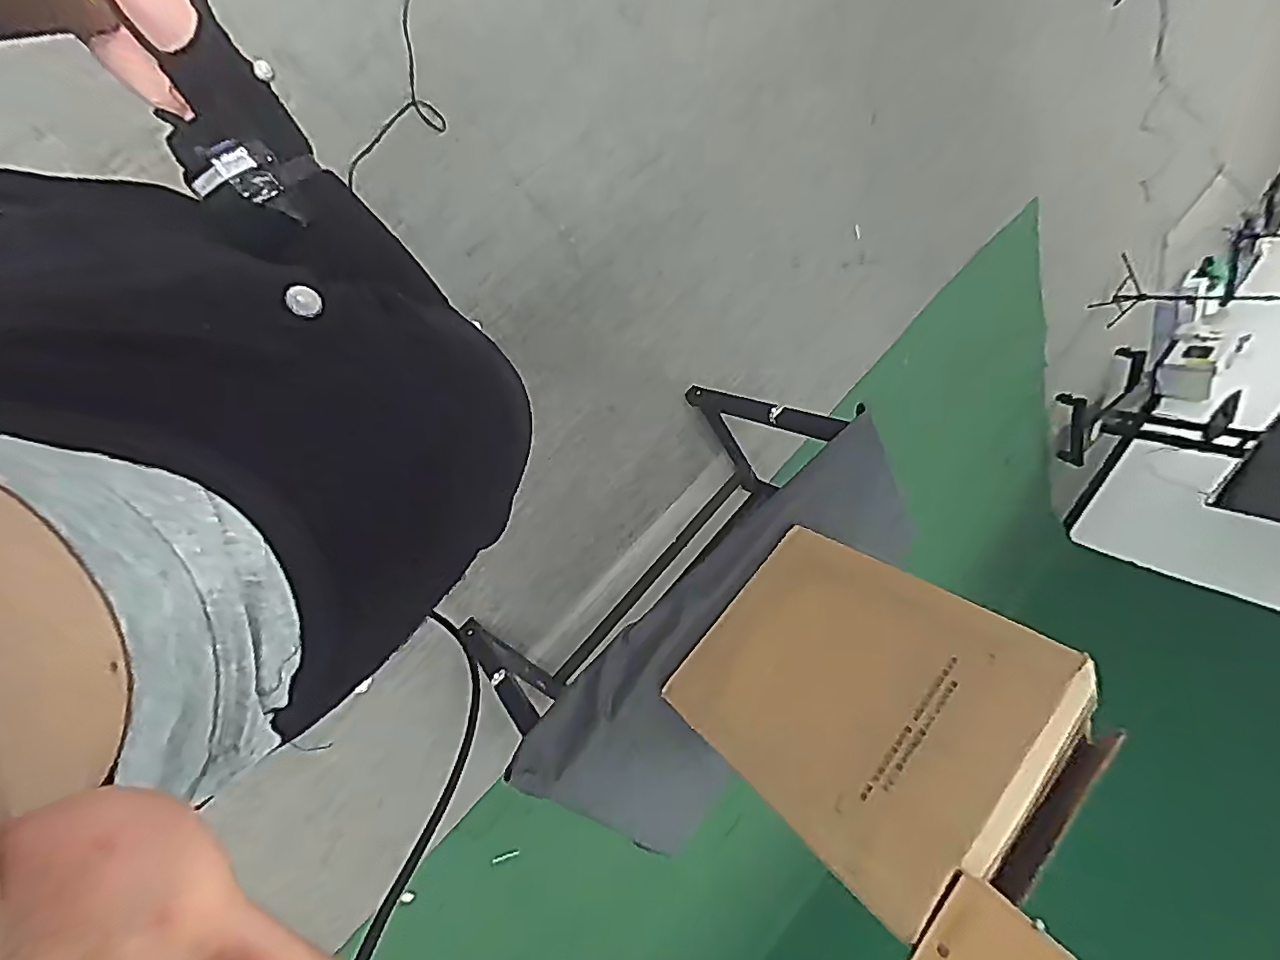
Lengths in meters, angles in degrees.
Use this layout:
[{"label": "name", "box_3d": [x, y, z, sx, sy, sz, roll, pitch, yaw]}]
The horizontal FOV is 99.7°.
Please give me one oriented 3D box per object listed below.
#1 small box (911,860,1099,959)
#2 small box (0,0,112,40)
[{"label": "small box", "box_3d": [0.528, 0.695, 0.786, 0.168, 0.176, 0.179, -53, 129, -5]}, {"label": "small box", "box_3d": [-0.377, -0.295, 0.208, 0.168, 0.176, 0.179, -22, 116, -14]}]
